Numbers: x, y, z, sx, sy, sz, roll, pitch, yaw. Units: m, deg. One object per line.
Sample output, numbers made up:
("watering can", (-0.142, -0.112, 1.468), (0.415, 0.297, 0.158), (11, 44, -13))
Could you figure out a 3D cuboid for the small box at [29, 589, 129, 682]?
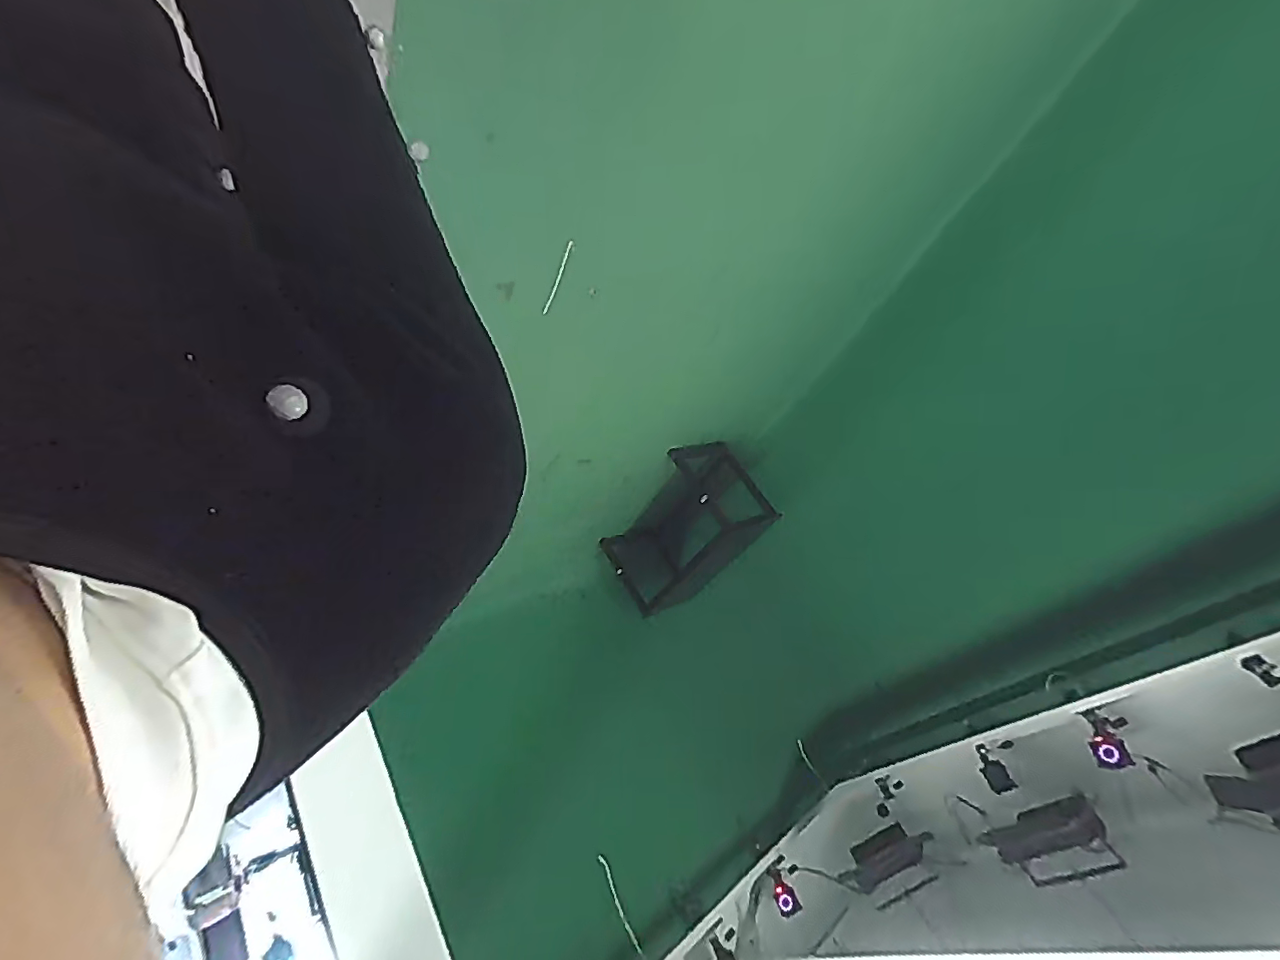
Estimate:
("small box", (-1.534, 0.416, 1.481), (0.168, 0.176, 0.179), (-10, 150, -43))
